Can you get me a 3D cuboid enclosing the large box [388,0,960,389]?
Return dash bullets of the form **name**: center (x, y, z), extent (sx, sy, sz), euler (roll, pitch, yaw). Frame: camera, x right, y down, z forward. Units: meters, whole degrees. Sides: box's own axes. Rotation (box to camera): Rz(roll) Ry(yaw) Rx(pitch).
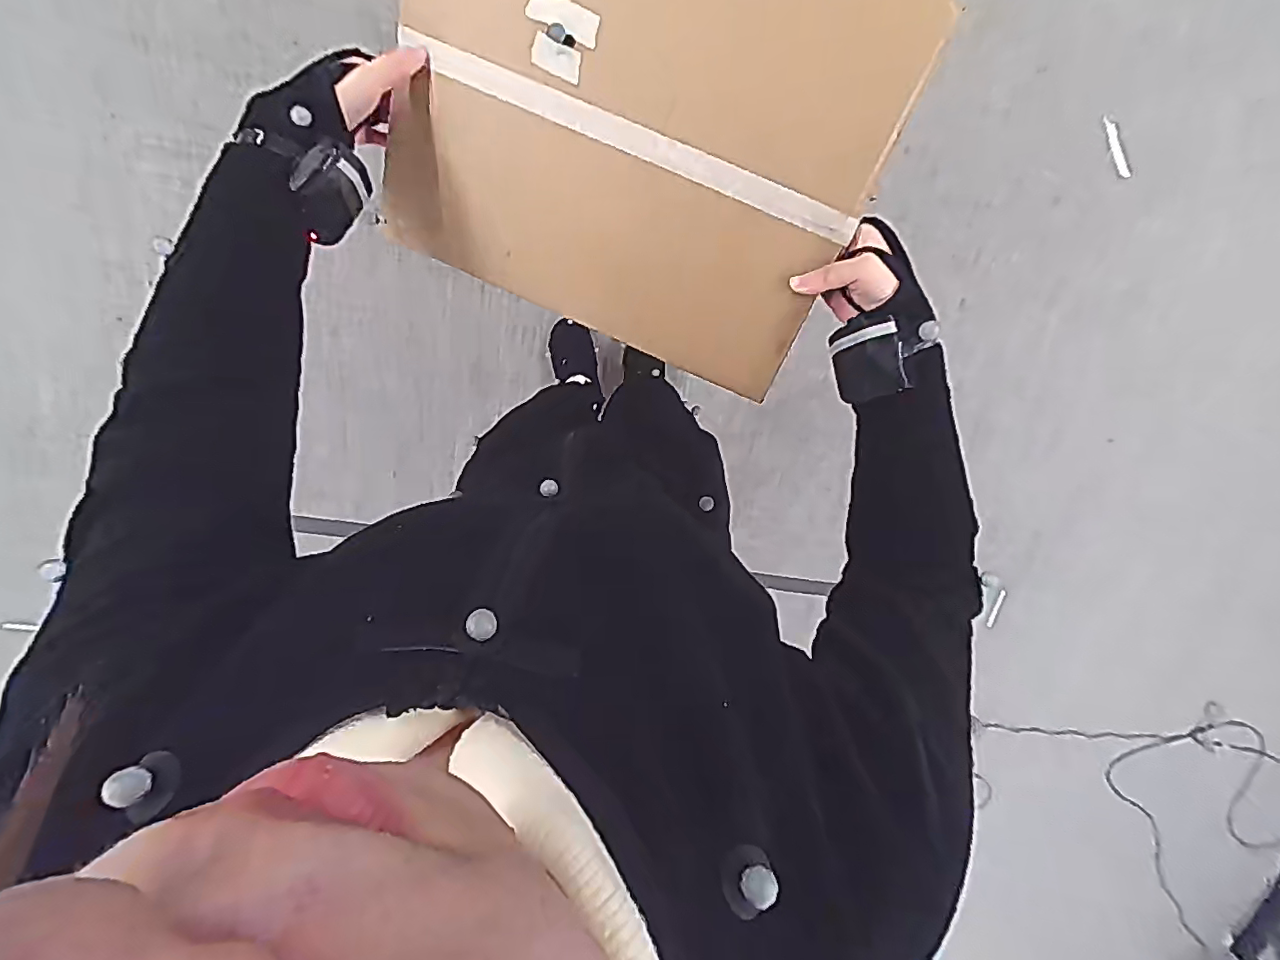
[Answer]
- **large box**: center (0.023, -0.345, 0.569), extent (0.408, 0.320, 0.320), euler (24, 118, 2)
